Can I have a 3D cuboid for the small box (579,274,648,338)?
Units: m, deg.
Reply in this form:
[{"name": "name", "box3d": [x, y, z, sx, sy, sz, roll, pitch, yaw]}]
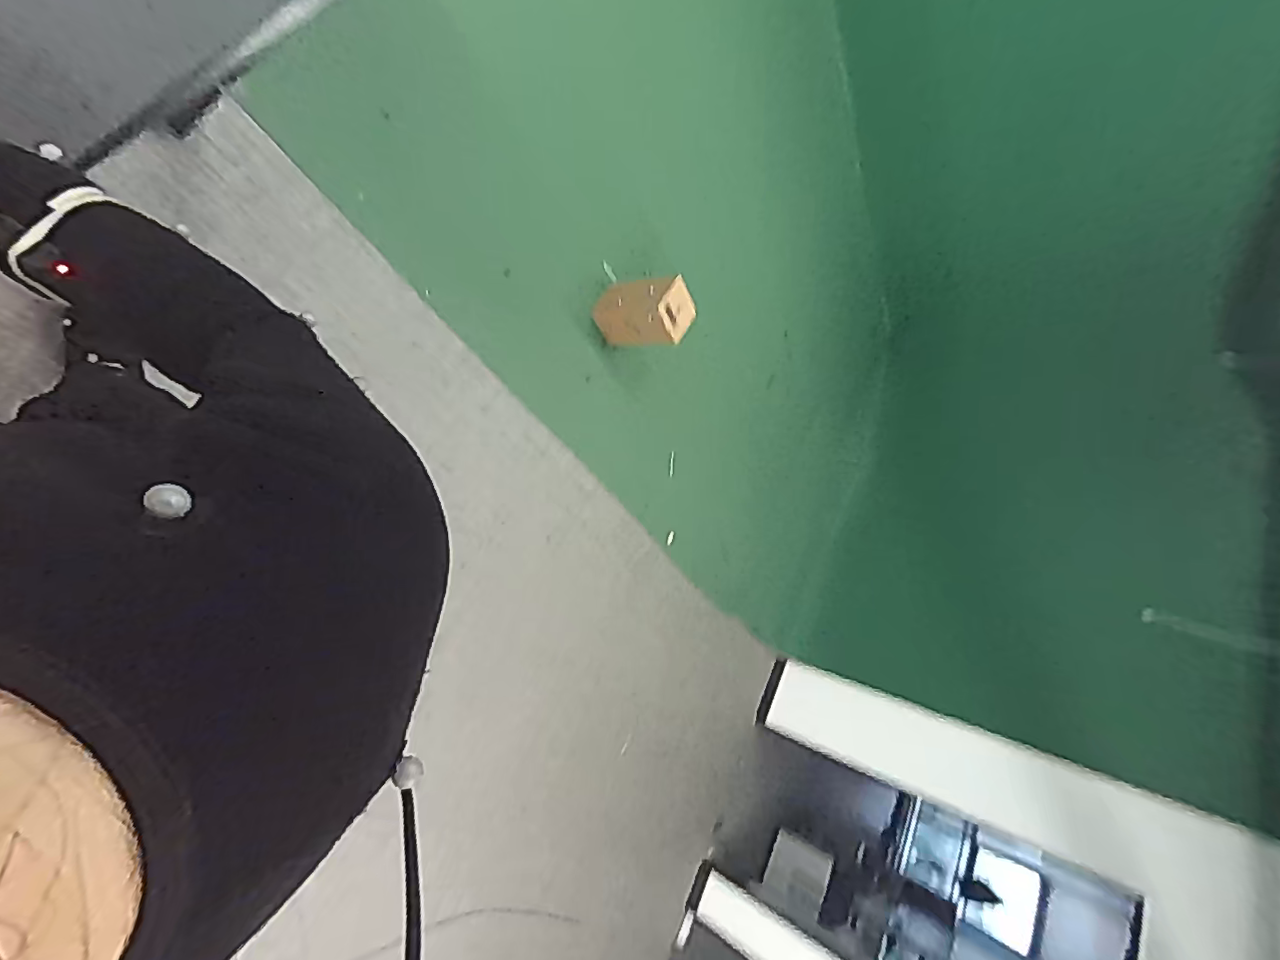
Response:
[{"name": "small box", "box3d": [-0.103, -0.670, 2.087, 0.179, 0.176, 0.168, -59, 139, -23]}]
